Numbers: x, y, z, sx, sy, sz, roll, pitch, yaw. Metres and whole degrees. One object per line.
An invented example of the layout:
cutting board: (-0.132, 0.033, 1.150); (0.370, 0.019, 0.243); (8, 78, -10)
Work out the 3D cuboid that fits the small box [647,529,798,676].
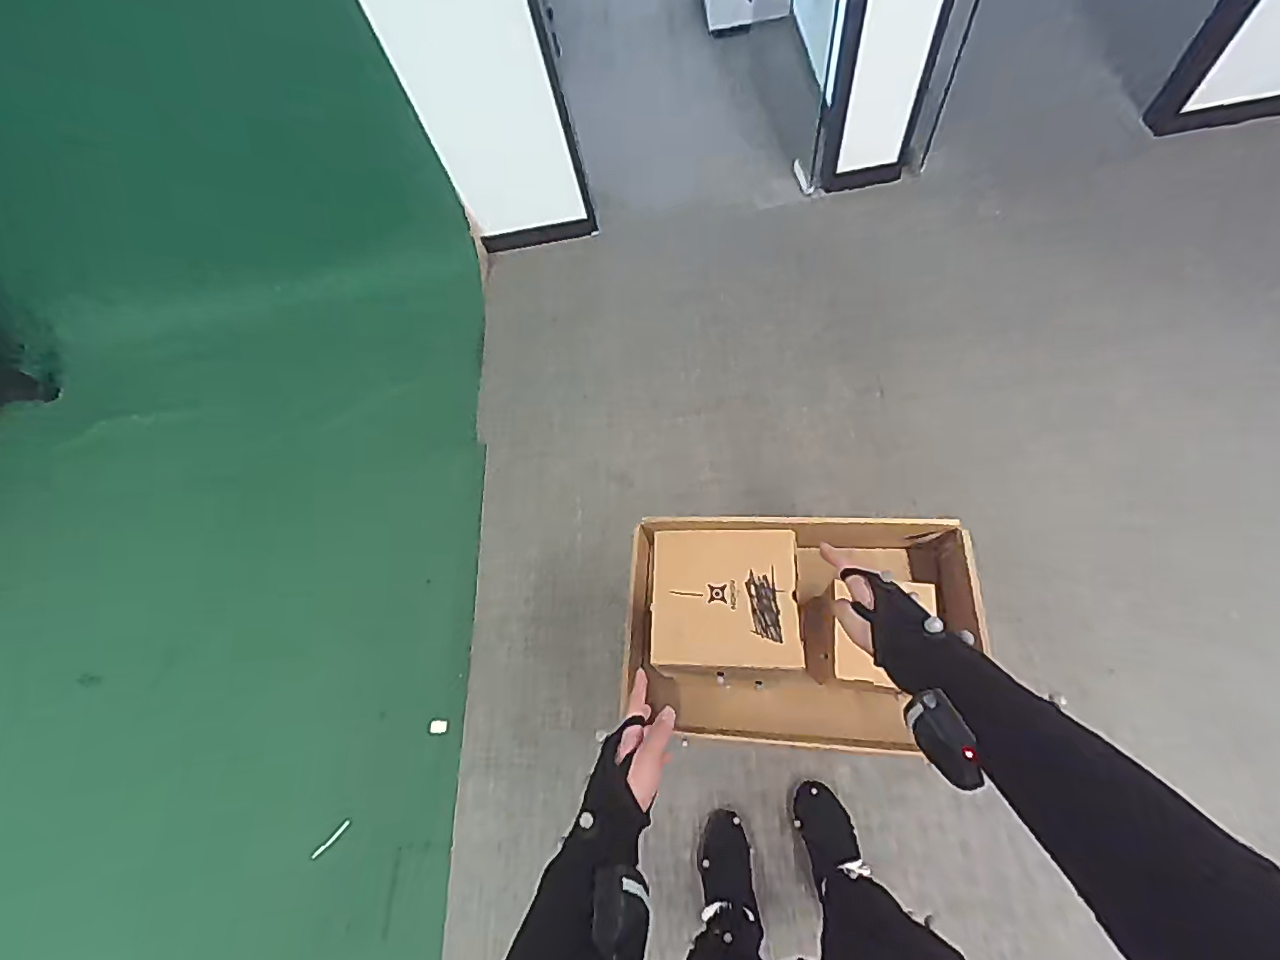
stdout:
small box: (0.110, 0.169, 0.726); (0.179, 0.176, 0.168); (-2, 66, 10)
